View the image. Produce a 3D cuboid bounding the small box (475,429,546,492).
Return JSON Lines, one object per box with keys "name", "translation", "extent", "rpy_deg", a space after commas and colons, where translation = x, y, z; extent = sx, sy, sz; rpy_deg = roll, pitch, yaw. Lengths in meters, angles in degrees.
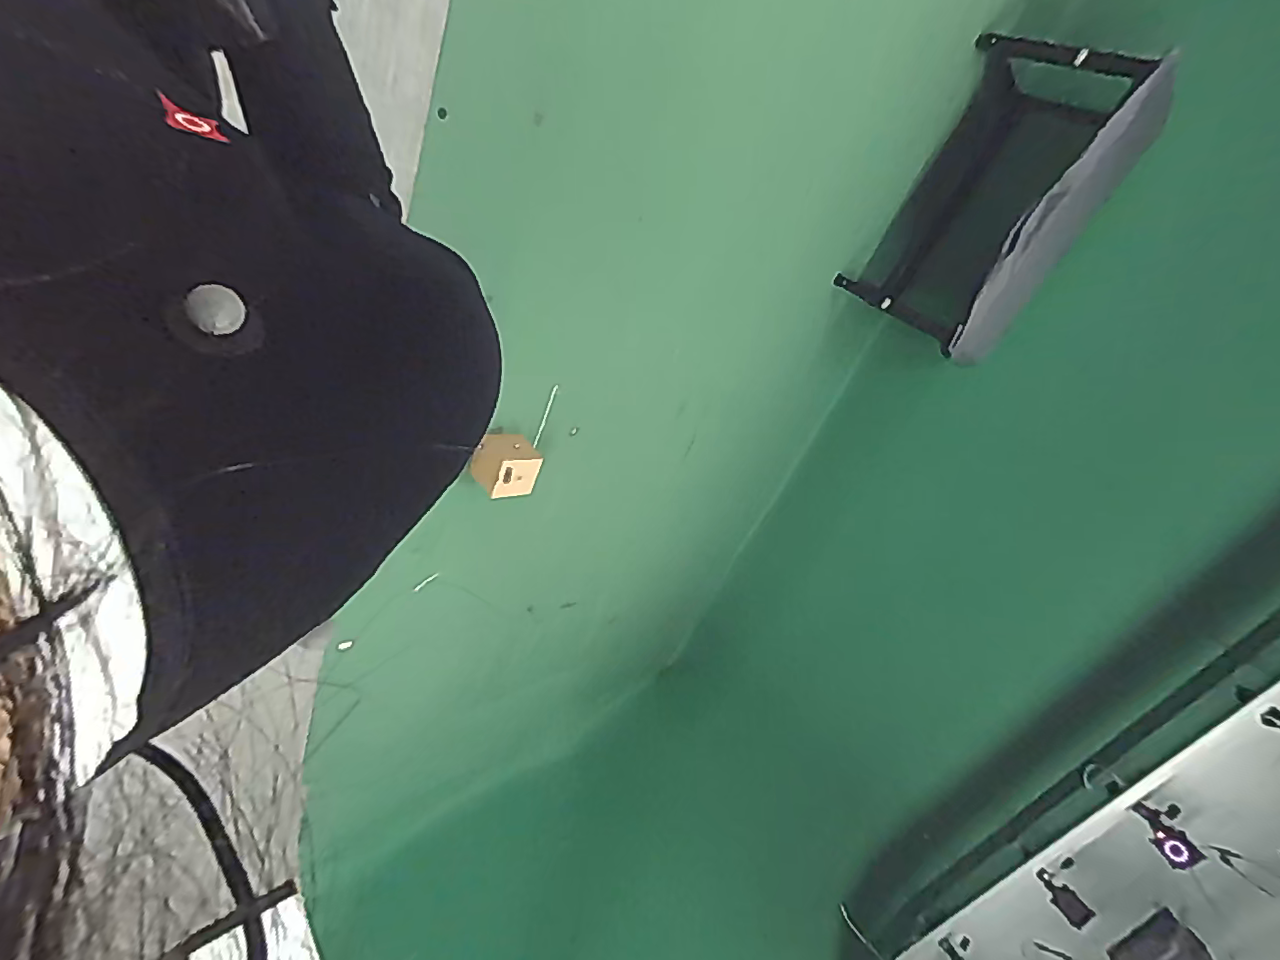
{"name": "small box", "translation": [-0.482, -0.076, 1.993], "extent": [0.179, 0.176, 0.168], "rpy_deg": [-7, 131, -48]}
